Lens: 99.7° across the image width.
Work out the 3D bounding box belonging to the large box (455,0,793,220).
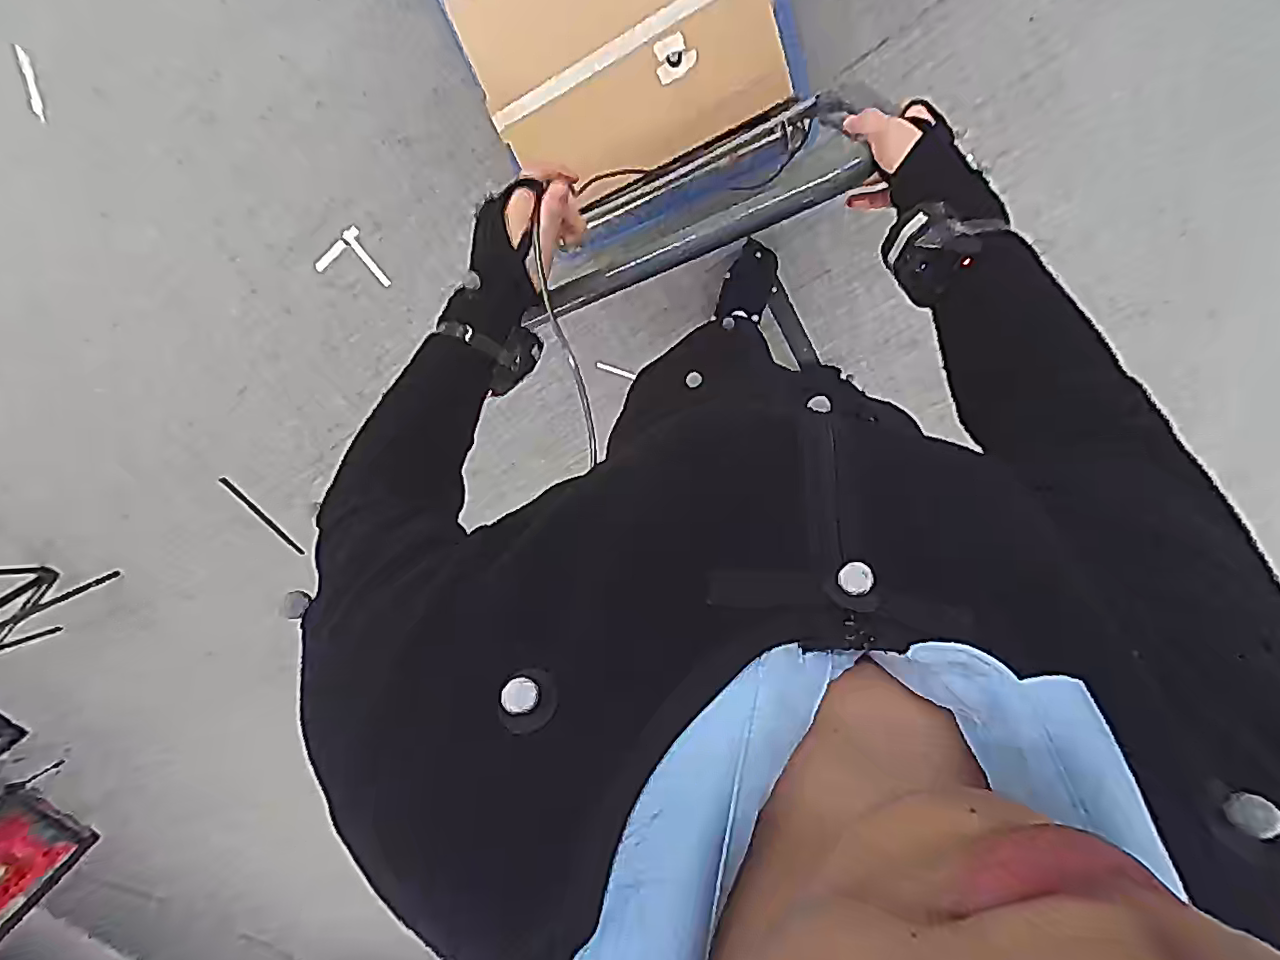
[{"bbox_3d":[-0.008,-0.676,0.888,0.408,0.320,0.320,-19,115,17],"label":"large box"}]
